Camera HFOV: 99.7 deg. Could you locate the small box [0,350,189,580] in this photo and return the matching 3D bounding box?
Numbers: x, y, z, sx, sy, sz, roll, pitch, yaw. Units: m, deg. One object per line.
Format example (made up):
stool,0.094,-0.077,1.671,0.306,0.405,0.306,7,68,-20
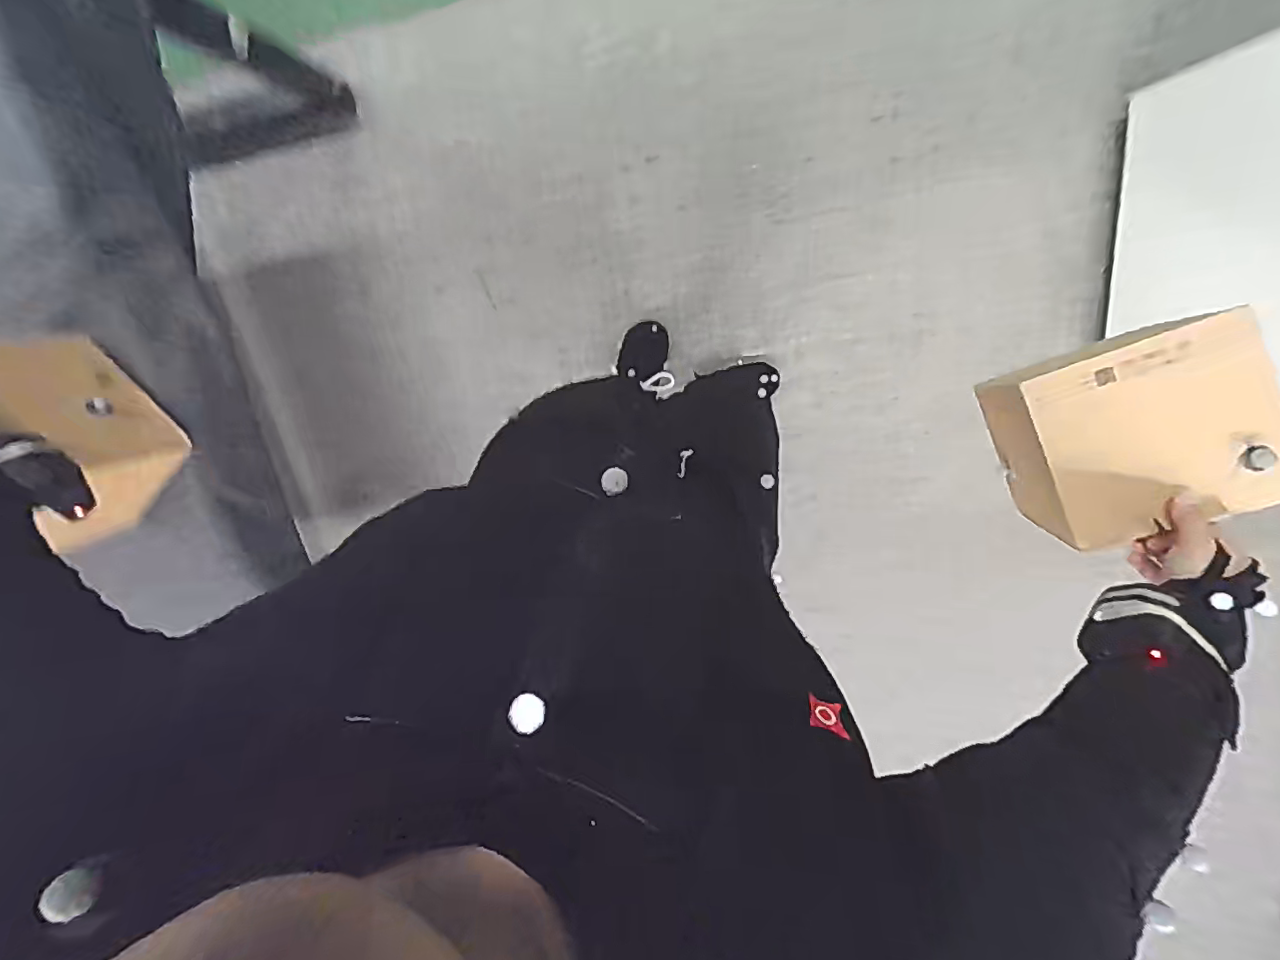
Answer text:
small box,-0.650,-0.019,0.583,0.179,0.176,0.168,-41,97,19
